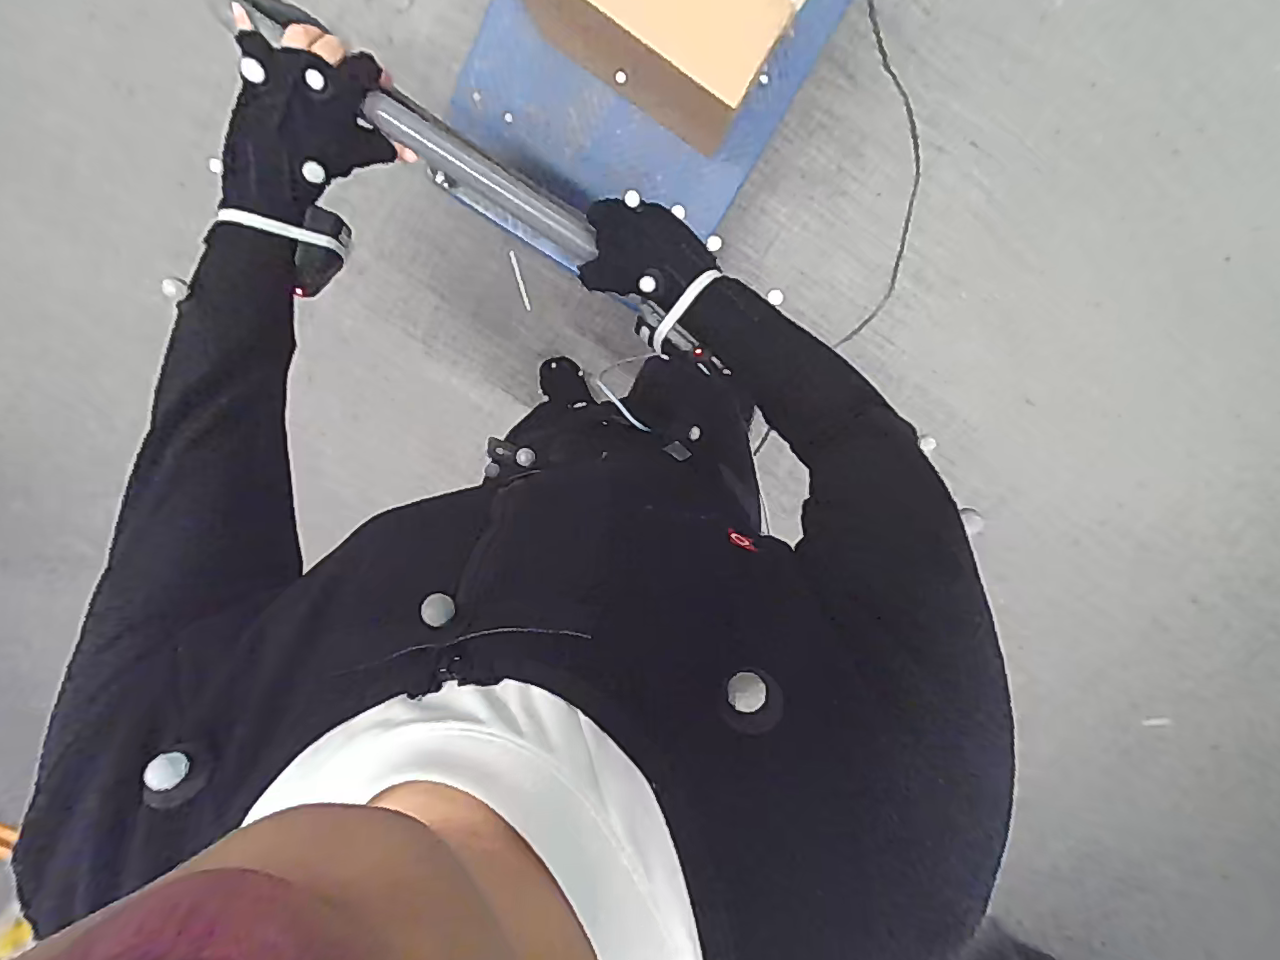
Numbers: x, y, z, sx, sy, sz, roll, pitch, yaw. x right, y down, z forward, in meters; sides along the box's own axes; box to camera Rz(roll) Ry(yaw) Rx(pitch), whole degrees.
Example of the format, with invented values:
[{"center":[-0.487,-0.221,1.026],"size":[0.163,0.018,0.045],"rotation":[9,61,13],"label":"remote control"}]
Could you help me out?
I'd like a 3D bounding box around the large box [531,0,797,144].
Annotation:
[{"center":[0.054,-0.837,0.874],"size":[0.408,0.320,0.320],"rotation":[30,106,-8],"label":"large box"}]
